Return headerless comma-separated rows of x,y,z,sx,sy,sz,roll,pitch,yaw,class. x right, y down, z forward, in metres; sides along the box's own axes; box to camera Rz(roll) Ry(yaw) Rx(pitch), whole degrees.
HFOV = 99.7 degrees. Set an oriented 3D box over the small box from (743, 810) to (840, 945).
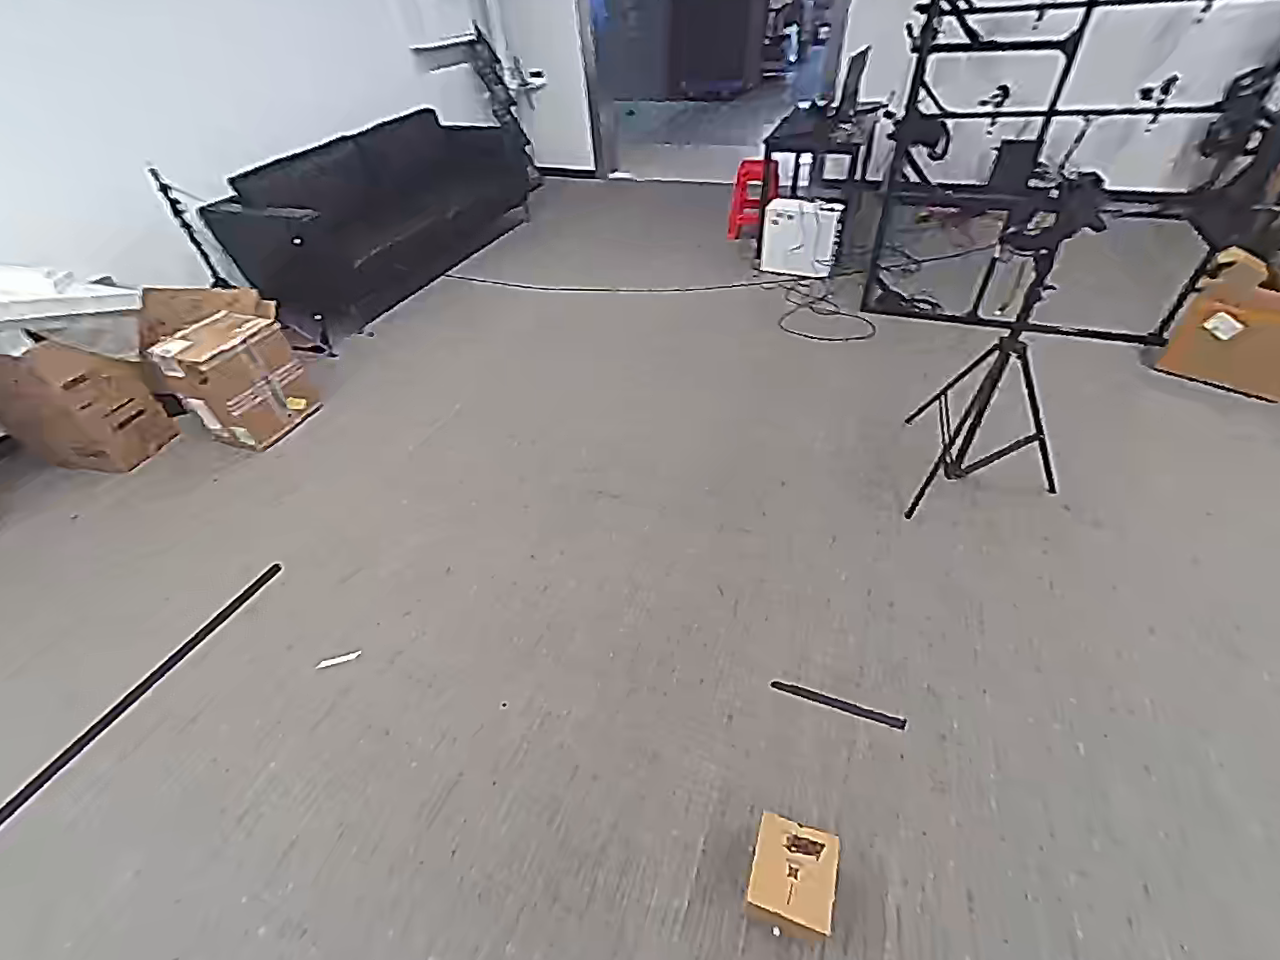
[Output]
0.323,0.860,1.171,0.168,0.176,0.179,12,46,18,small box
